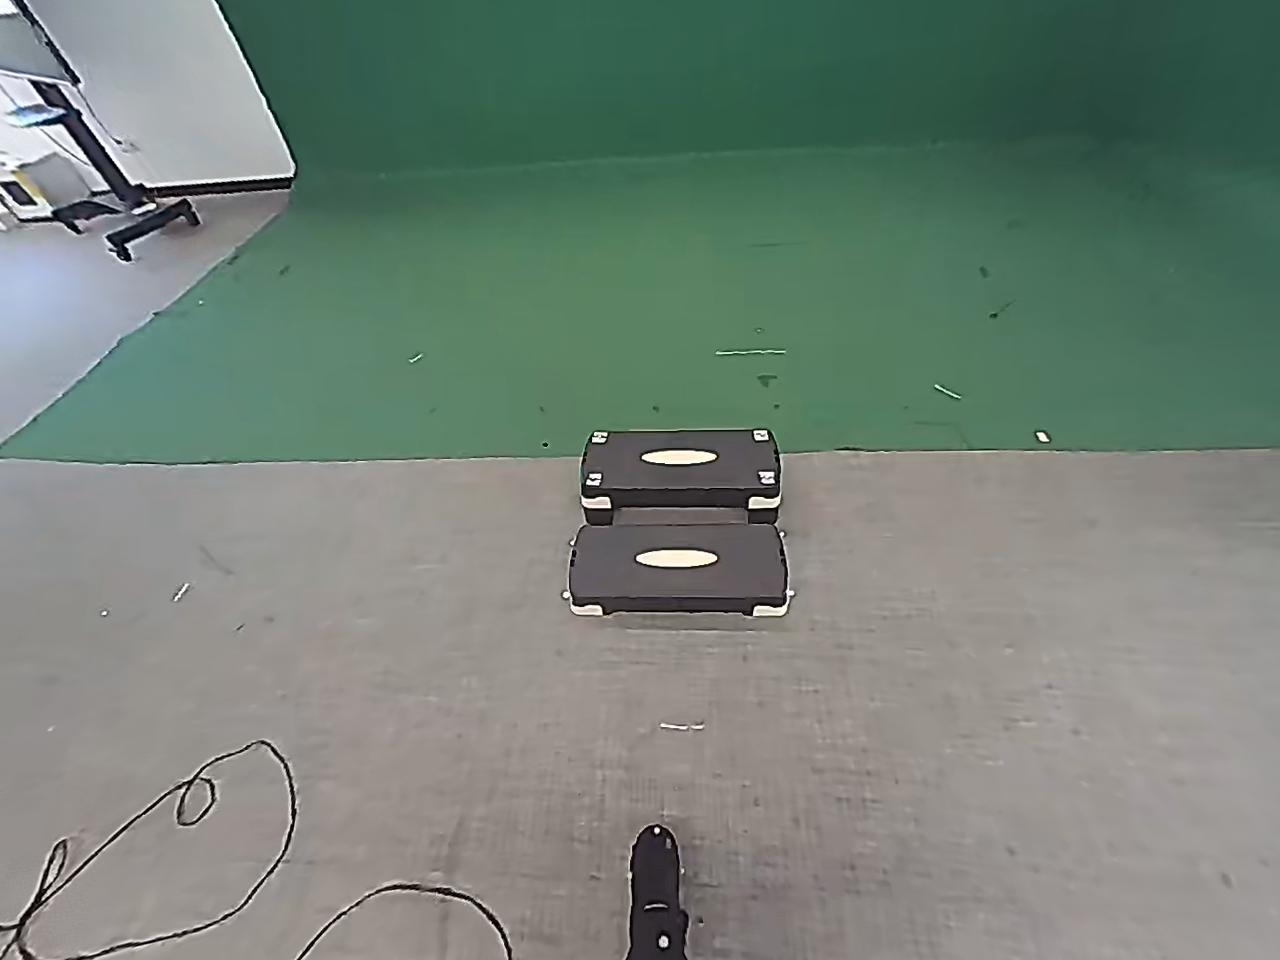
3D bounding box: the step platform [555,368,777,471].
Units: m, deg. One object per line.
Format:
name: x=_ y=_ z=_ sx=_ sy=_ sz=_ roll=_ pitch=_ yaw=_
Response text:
step platform: x=0.082 y=-0.192 z=1.742 sx=0.684 sy=0.204 sz=0.286 roll=-1 pitch=49 yaw=5
